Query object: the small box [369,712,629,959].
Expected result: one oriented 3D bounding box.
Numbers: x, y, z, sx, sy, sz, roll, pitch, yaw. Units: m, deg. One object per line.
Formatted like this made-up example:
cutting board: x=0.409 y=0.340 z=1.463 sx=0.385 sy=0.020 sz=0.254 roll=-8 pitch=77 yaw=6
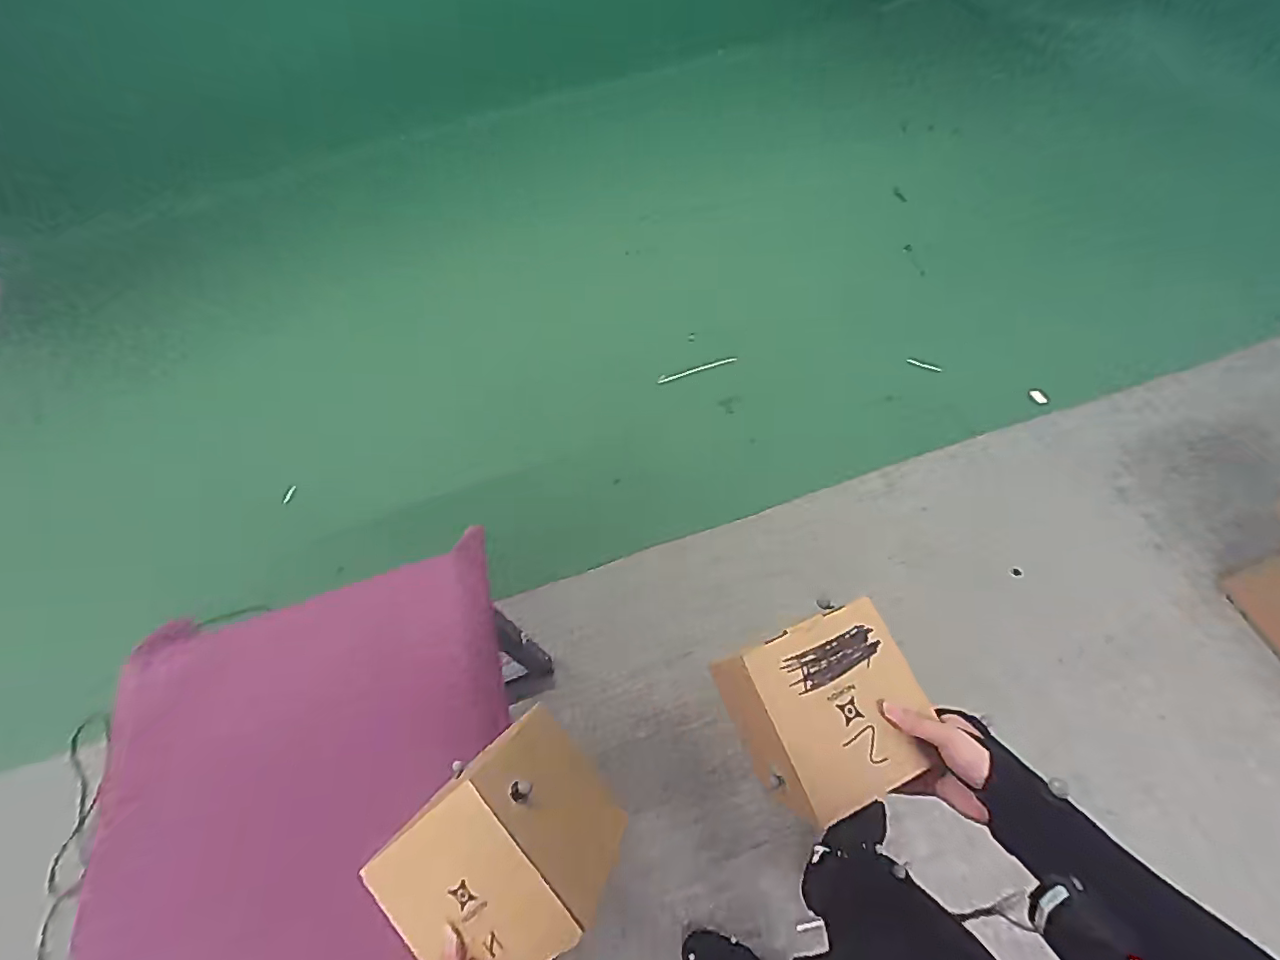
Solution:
small box: x=-0.139 y=0.384 z=0.587 sx=0.168 sy=0.176 sz=0.179 roll=-42 pitch=82 yaw=11
